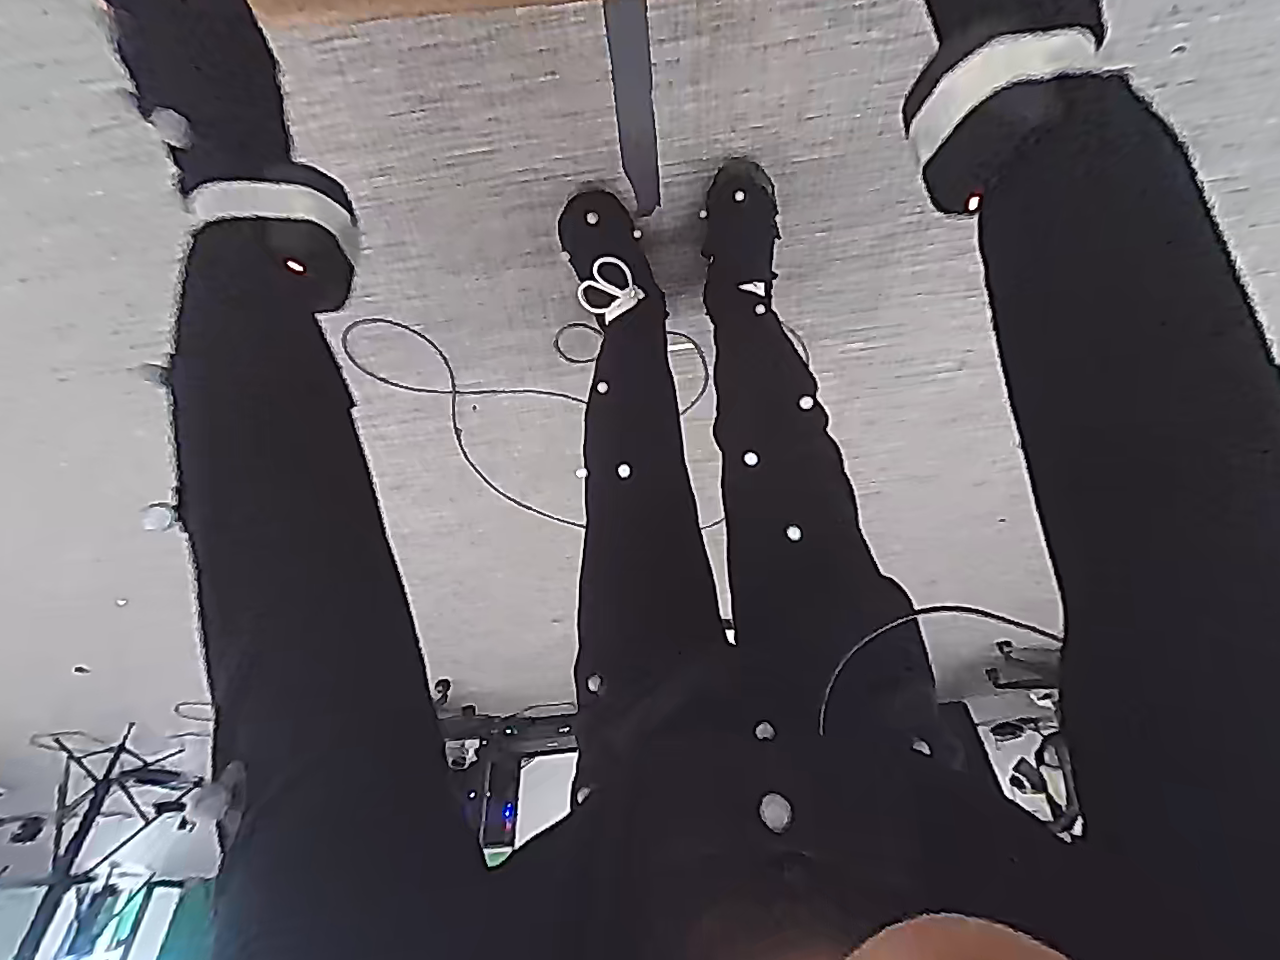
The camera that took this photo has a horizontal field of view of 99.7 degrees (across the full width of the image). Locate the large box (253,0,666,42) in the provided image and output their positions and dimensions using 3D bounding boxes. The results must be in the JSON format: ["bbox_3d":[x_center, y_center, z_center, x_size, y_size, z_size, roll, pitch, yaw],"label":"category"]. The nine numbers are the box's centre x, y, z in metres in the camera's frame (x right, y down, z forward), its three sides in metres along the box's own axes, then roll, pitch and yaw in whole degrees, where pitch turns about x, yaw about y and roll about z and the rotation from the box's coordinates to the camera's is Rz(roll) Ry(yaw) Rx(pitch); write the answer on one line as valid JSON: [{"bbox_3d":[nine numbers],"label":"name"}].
[{"bbox_3d":[-0.096,-0.555,0.368,0.408,0.320,0.320,-5,141,1],"label":"large box"}]
